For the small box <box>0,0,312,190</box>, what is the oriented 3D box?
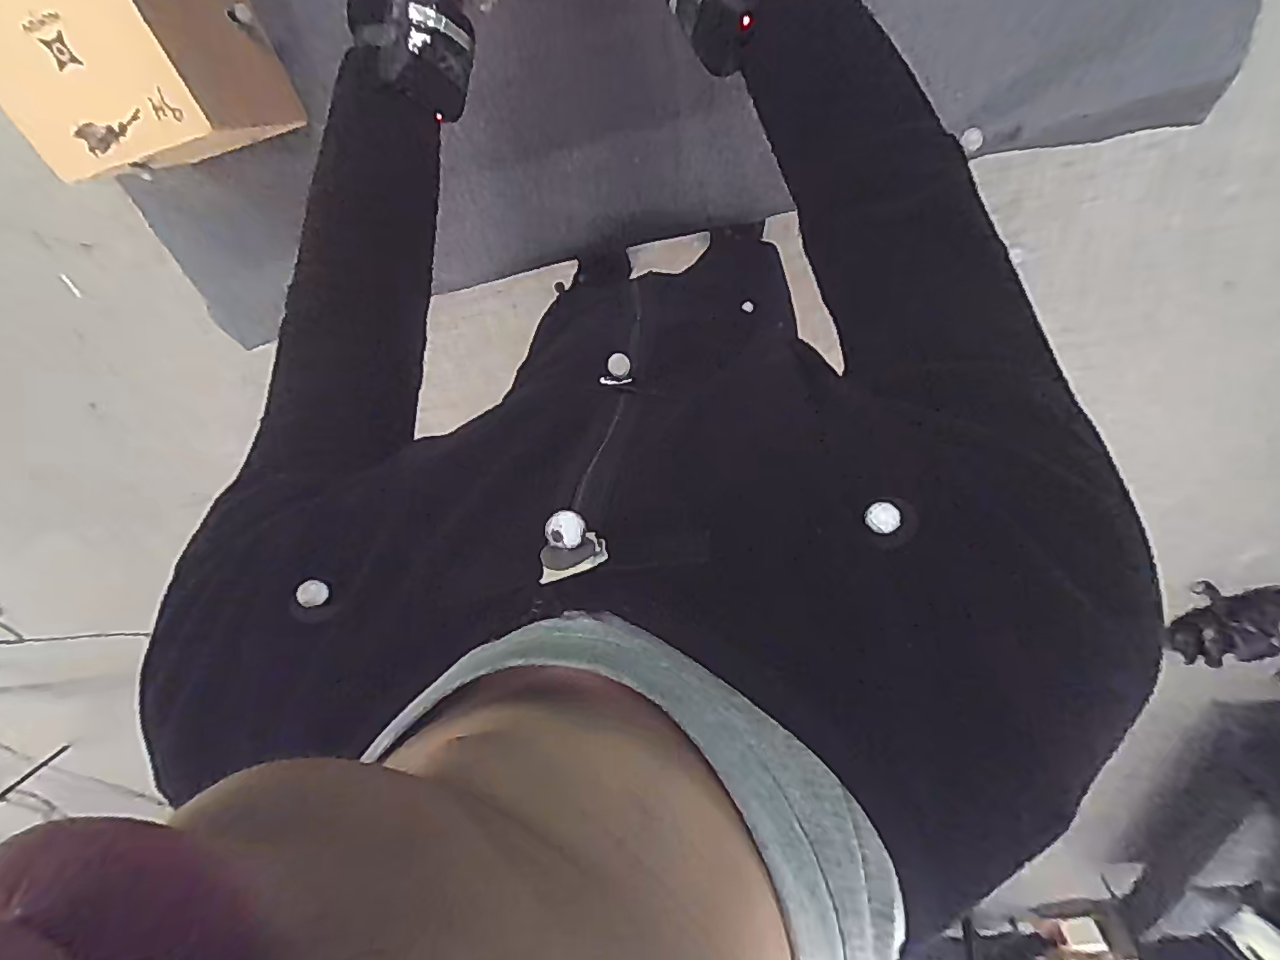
[{"bbox_3d":[-0.457,-0.392,0.499,0.168,0.176,0.179,-10,125,11],"label":"small box"}]
